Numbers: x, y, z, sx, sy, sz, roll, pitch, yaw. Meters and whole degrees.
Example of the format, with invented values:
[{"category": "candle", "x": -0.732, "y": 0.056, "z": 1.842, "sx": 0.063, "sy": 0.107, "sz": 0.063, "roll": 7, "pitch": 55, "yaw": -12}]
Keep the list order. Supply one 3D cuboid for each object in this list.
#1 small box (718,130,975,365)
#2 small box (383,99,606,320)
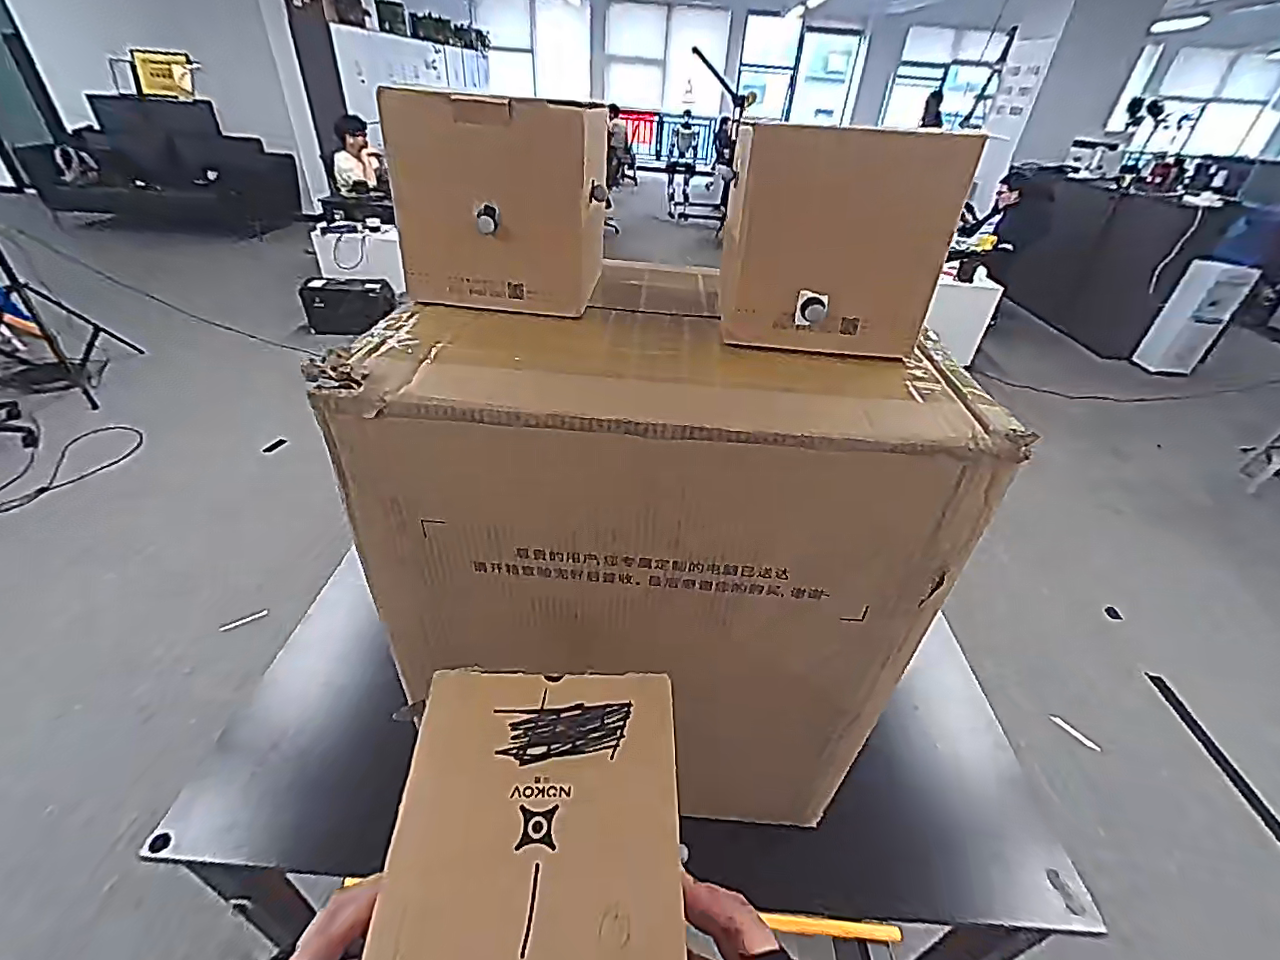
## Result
[{"category": "small box", "x": 0.166, "y": -0.223, "z": 0.508, "sx": 0.168, "sy": 0.176, "sz": 0.179, "roll": 4, "pitch": 35, "yaw": 3}, {"category": "small box", "x": -0.125, "y": -0.271, "z": 0.541, "sx": 0.168, "sy": 0.176, "sz": 0.179, "roll": 6, "pitch": 35, "yaw": -1}]
